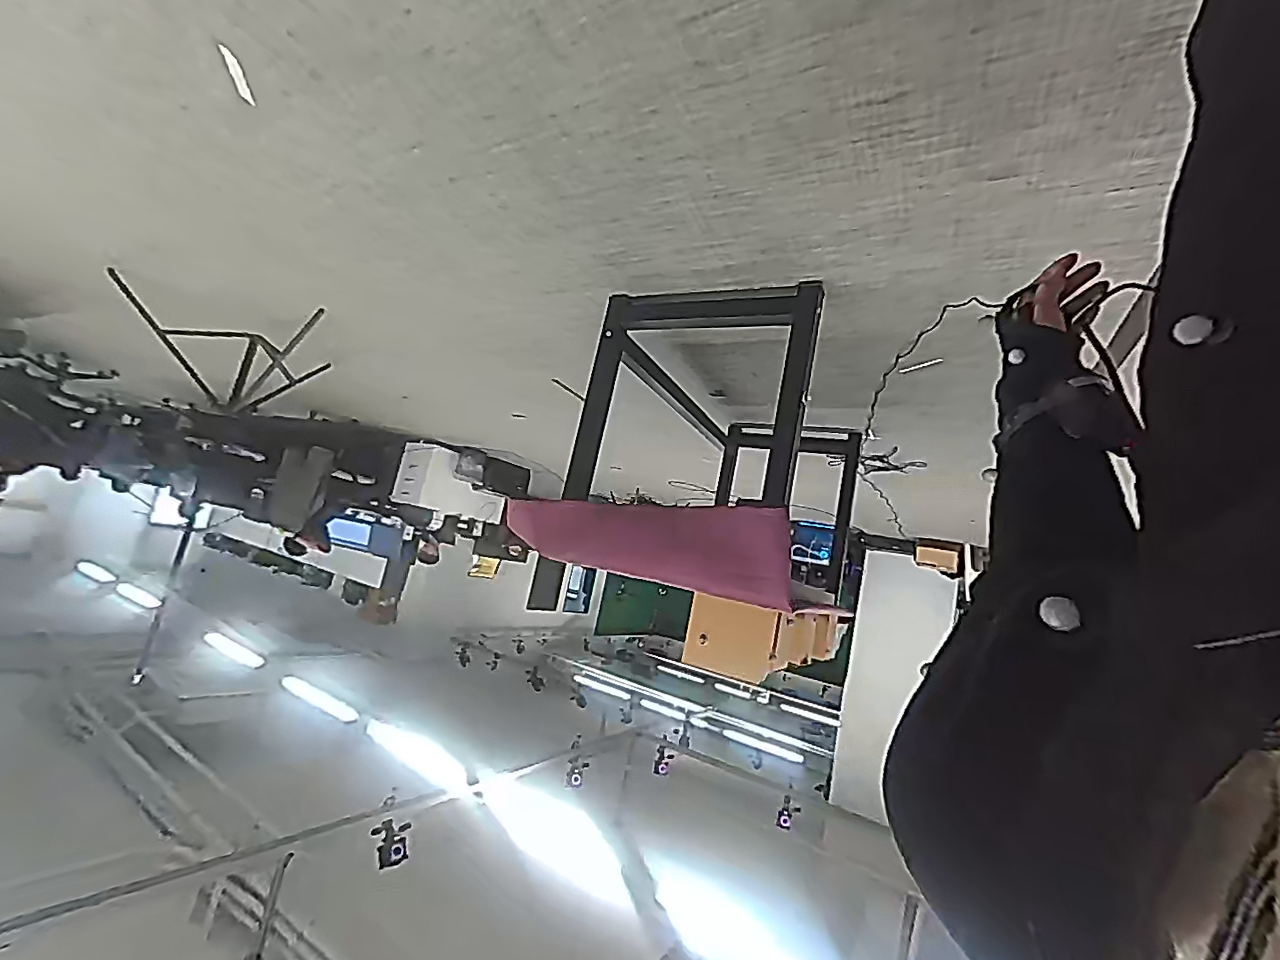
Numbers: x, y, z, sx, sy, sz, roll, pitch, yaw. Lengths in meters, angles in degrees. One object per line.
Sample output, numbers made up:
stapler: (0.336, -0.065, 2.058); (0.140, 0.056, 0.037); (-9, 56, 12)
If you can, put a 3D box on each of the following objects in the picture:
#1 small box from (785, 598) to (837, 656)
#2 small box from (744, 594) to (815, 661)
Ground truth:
small box: (0.612, 0.530, 1.968); (0.168, 0.176, 0.179); (6, 170, 31)
small box: (0.444, 0.458, 1.698); (0.179, 0.176, 0.168); (7, 170, 32)
